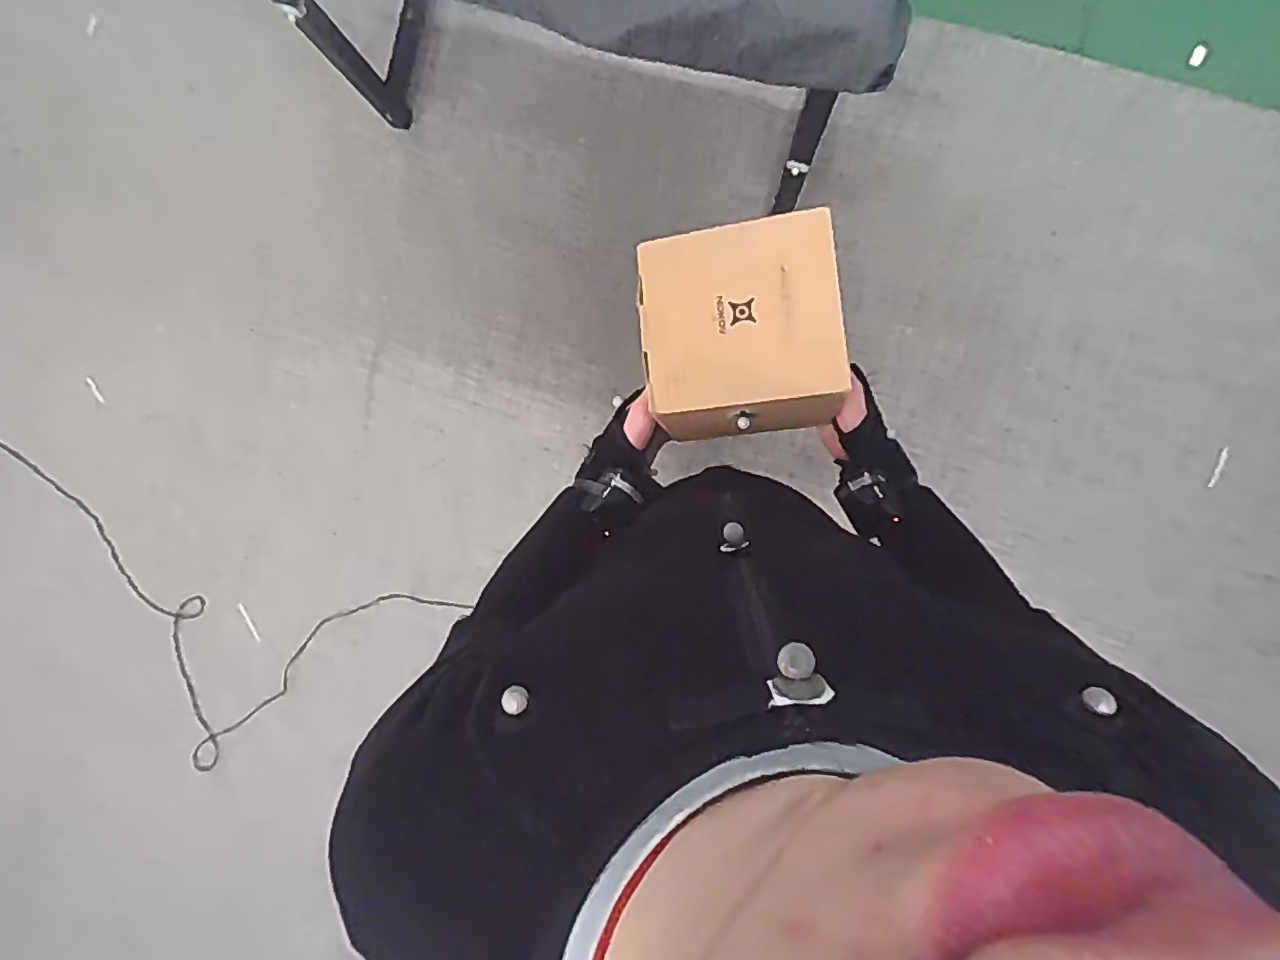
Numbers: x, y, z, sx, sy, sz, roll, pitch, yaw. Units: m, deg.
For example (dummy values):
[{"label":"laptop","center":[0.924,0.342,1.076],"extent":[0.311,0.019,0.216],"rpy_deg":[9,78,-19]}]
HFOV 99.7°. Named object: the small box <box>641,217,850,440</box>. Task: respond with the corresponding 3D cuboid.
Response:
[{"label":"small box","center":[0.108,-0.141,0.571],"extent":[0.179,0.176,0.168],"rpy_deg":[-7,85,10]}]
